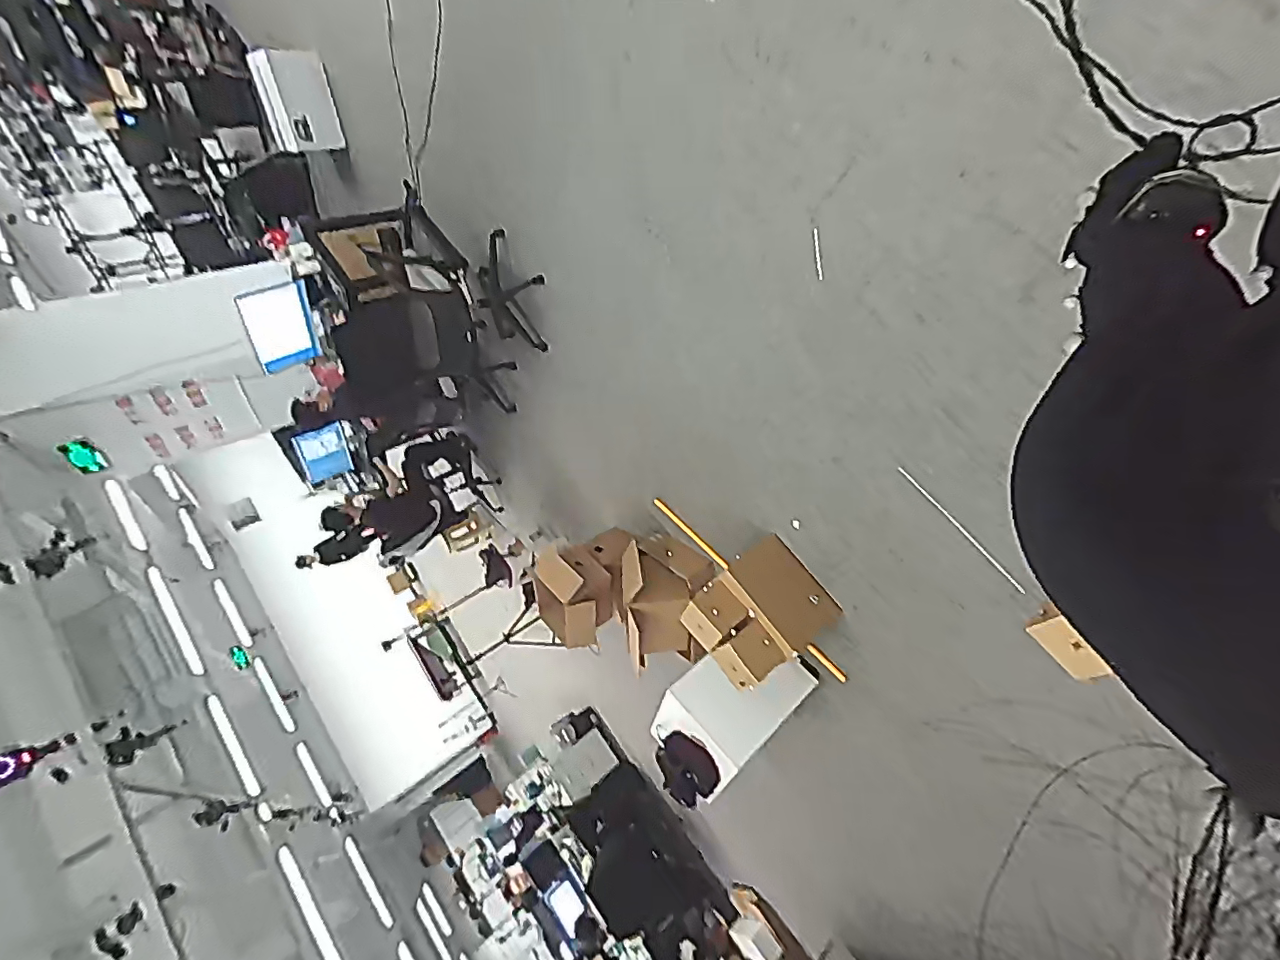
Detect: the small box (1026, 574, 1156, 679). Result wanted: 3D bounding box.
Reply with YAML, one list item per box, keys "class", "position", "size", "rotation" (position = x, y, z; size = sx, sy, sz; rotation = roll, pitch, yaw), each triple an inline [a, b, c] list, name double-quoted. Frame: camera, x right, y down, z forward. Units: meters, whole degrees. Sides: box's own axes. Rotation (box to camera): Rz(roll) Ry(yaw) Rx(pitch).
- class: "small box"
  position: [1.145, 0.370, 1.372]
  size: [0.168, 0.176, 0.179]
  rotation: [50, 146, 16]
